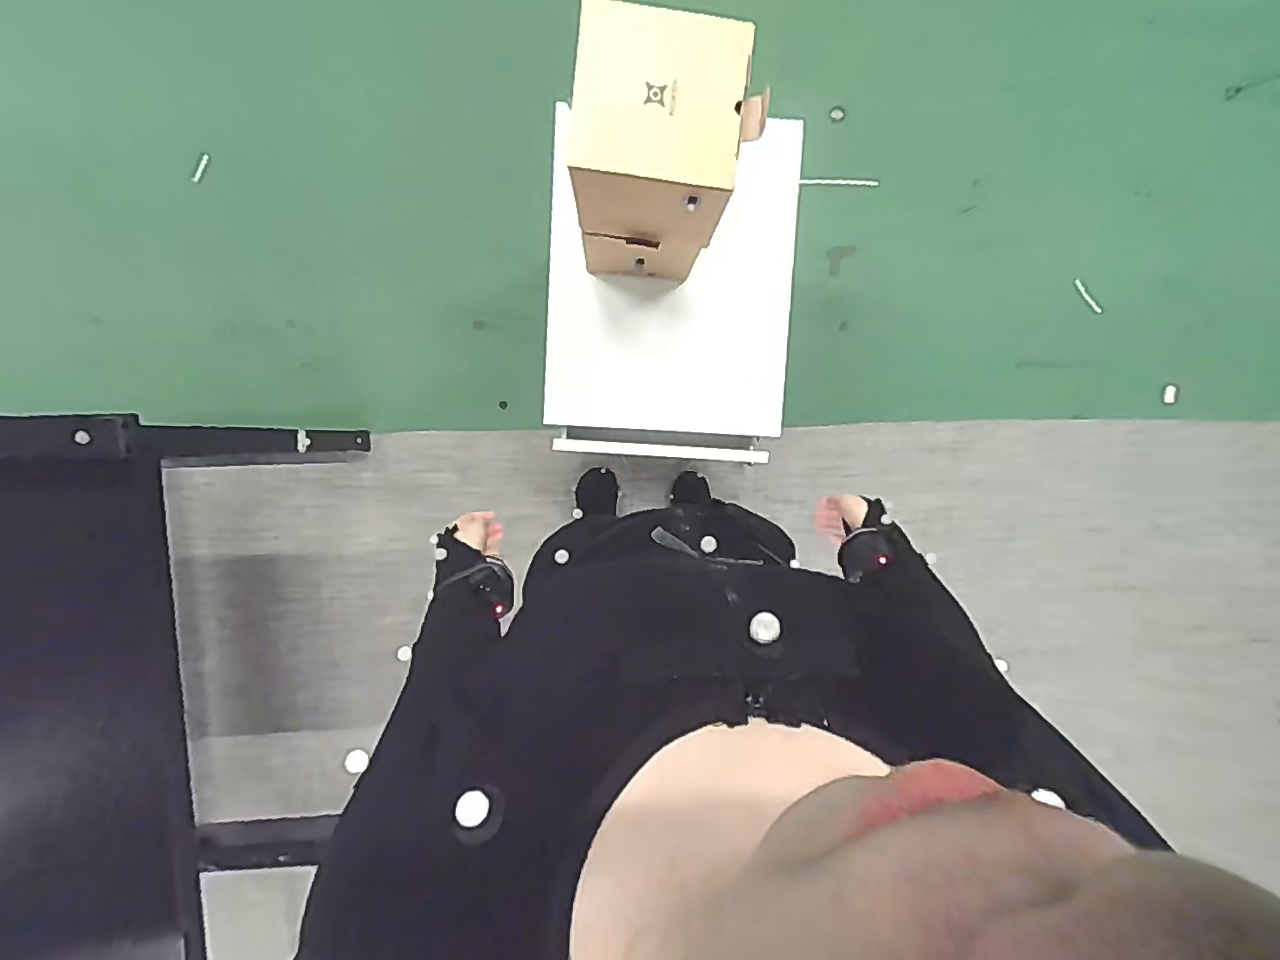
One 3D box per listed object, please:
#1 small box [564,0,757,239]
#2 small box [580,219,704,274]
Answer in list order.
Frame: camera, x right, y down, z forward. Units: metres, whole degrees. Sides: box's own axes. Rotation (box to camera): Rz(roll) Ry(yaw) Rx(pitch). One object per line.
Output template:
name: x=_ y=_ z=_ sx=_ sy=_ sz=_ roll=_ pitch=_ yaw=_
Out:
small box: x=0.017 y=-0.390 z=0.609 sx=0.179 sy=0.176 sz=0.168 roll=6 pitch=94 yaw=-3
small box: x=0.007 y=-0.406 z=0.771 sx=0.168 sy=0.176 sz=0.179 roll=3 pitch=95 yaw=-3
